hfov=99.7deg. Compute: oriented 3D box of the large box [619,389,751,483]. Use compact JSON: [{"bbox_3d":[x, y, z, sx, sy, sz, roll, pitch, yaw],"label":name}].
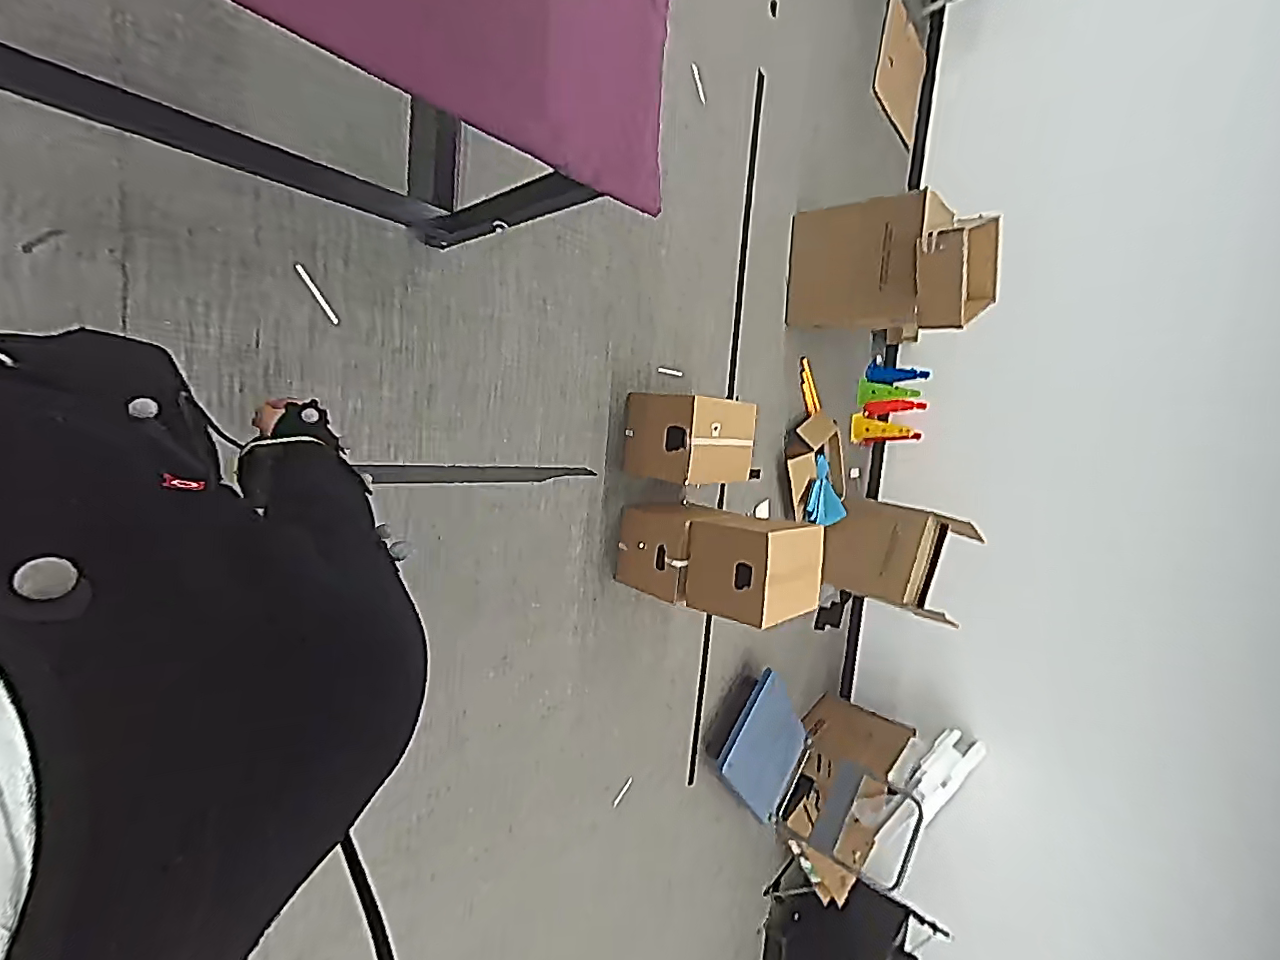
[{"bbox_3d":[0.175,-0.174,2.063,0.408,0.320,0.320,-3,100,-47],"label":"large box"}]
